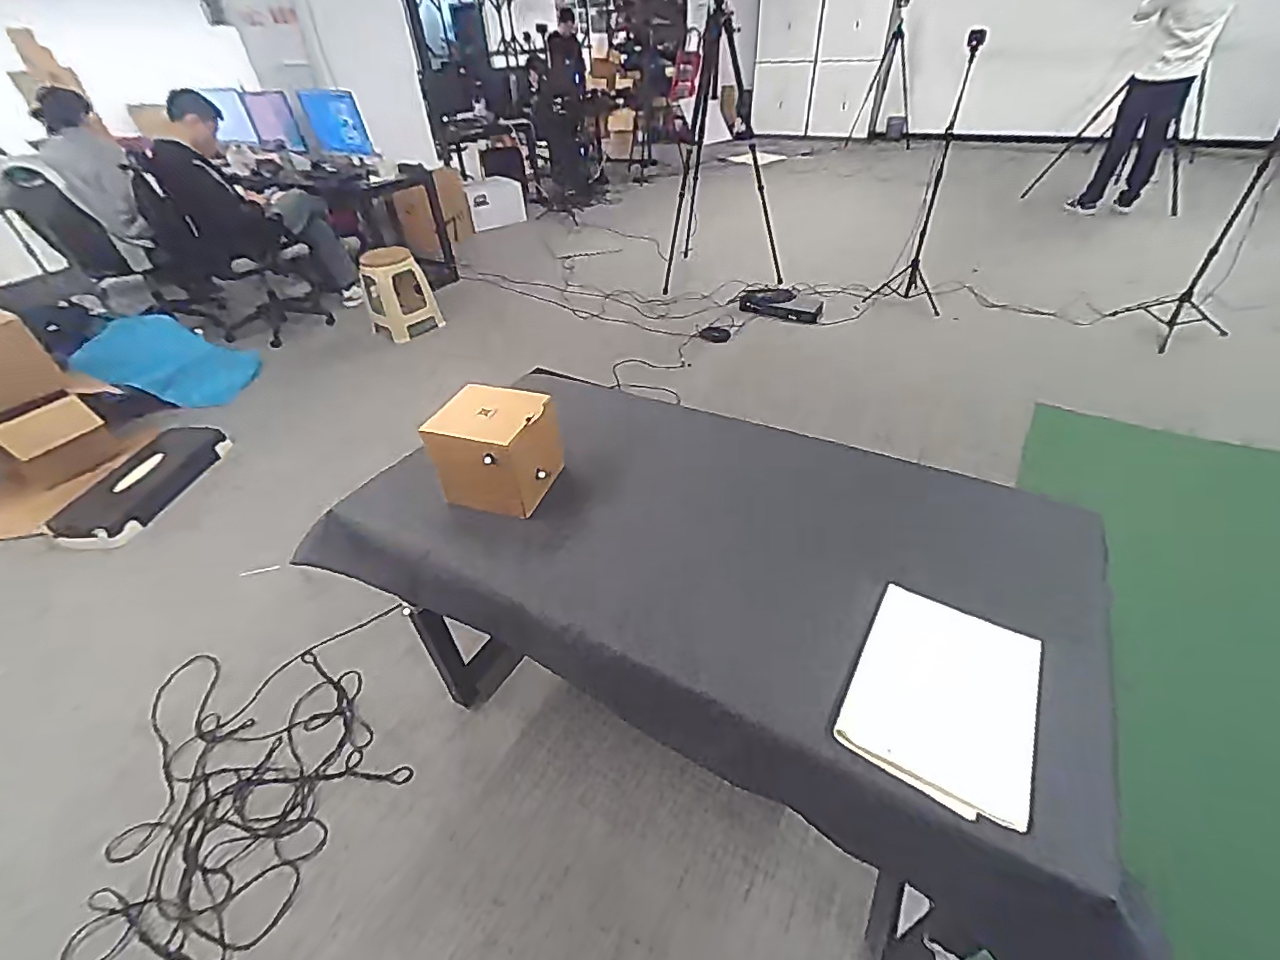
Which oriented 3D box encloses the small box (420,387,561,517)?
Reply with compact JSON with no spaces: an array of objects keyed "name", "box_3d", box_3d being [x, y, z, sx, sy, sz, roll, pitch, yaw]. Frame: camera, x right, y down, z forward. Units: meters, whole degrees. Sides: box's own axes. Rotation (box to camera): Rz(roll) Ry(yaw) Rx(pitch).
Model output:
[{"name":"small box","box_3d":[-0.263,-0.053,0.996,0.179,0.176,0.168,10,41,15]}]
